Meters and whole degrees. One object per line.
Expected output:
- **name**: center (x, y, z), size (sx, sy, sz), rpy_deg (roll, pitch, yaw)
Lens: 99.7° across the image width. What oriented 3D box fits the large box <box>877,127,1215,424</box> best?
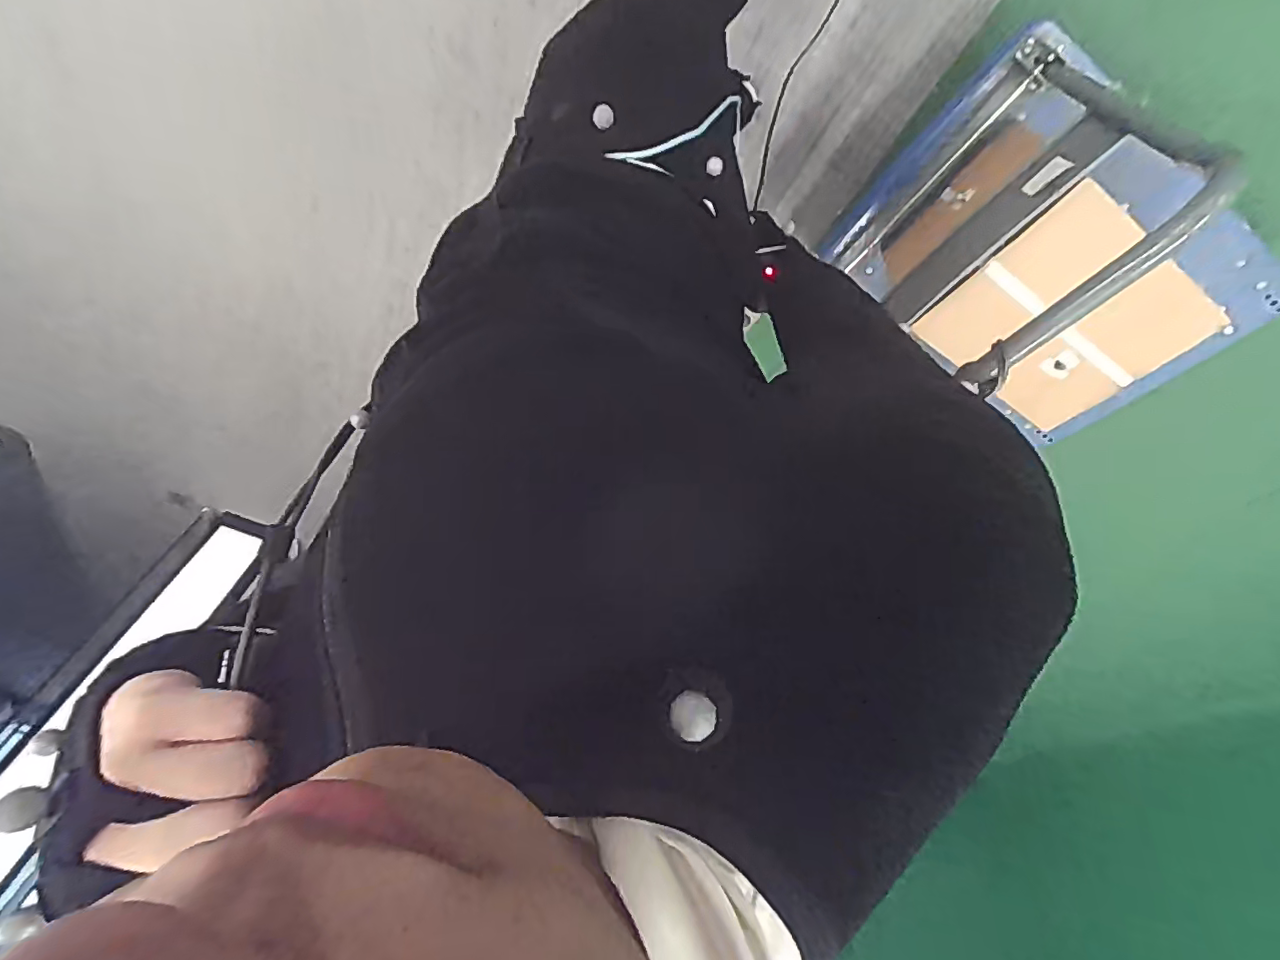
- **large box**: center (0.746, -0.387, 1.055), size (0.408, 0.320, 0.320), rpy_deg (28, 135, -18)
